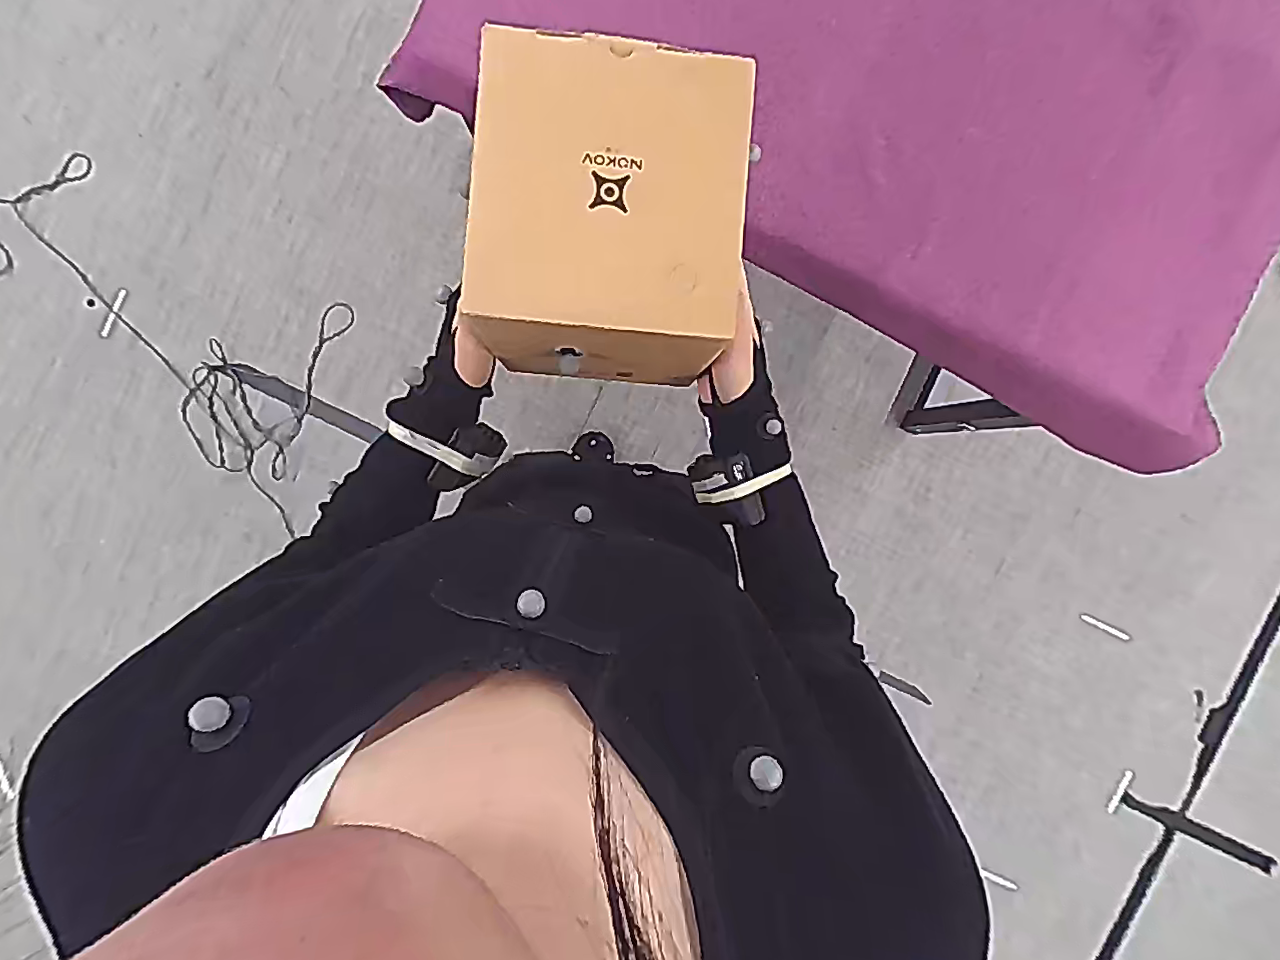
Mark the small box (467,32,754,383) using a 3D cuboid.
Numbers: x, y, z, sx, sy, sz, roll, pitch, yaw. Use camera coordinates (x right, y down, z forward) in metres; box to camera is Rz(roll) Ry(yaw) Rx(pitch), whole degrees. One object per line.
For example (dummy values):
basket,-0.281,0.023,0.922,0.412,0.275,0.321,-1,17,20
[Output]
small box,-0.022,-0.177,0.409,0.168,0.176,0.179,4,88,-4
